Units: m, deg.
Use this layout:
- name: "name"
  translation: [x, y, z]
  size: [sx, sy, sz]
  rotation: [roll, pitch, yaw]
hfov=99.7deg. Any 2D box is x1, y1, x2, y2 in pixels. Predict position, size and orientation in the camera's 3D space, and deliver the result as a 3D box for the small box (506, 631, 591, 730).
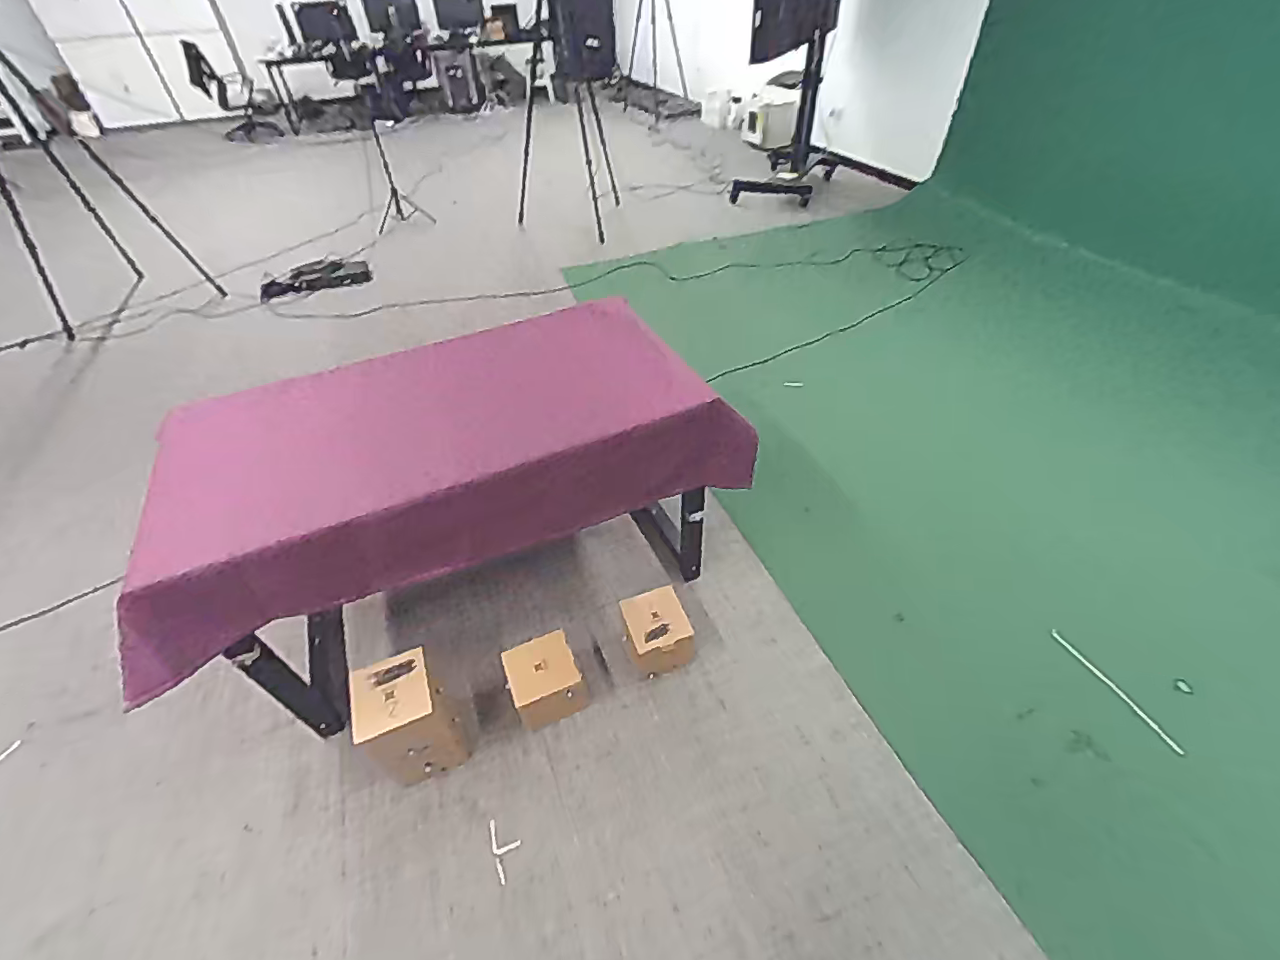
- name: "small box"
  translation: [-0.248, 0.554, 1.484]
  size: [0.179, 0.176, 0.168]
  rotation: [-19, 47, -15]
